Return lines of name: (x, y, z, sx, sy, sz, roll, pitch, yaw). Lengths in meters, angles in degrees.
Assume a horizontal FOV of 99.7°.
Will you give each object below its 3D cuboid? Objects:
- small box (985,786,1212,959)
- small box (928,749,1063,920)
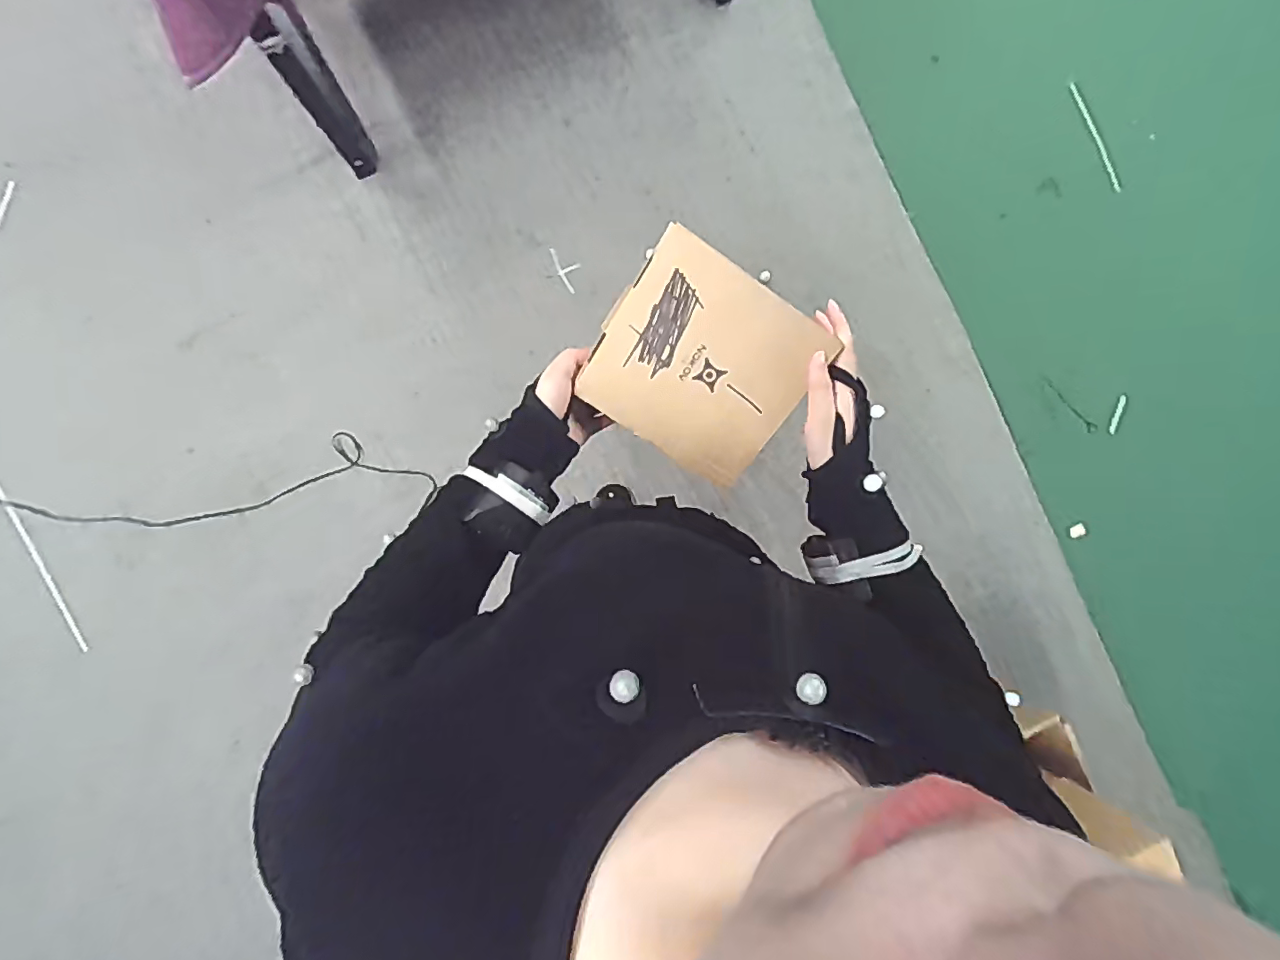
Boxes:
small box: (0.681, 0.610, 0.823, 0.179, 0.176, 0.168, -22, 90, -4)
small box: (0.672, 0.628, 0.985, 0.179, 0.176, 0.168, -22, 90, -4)
